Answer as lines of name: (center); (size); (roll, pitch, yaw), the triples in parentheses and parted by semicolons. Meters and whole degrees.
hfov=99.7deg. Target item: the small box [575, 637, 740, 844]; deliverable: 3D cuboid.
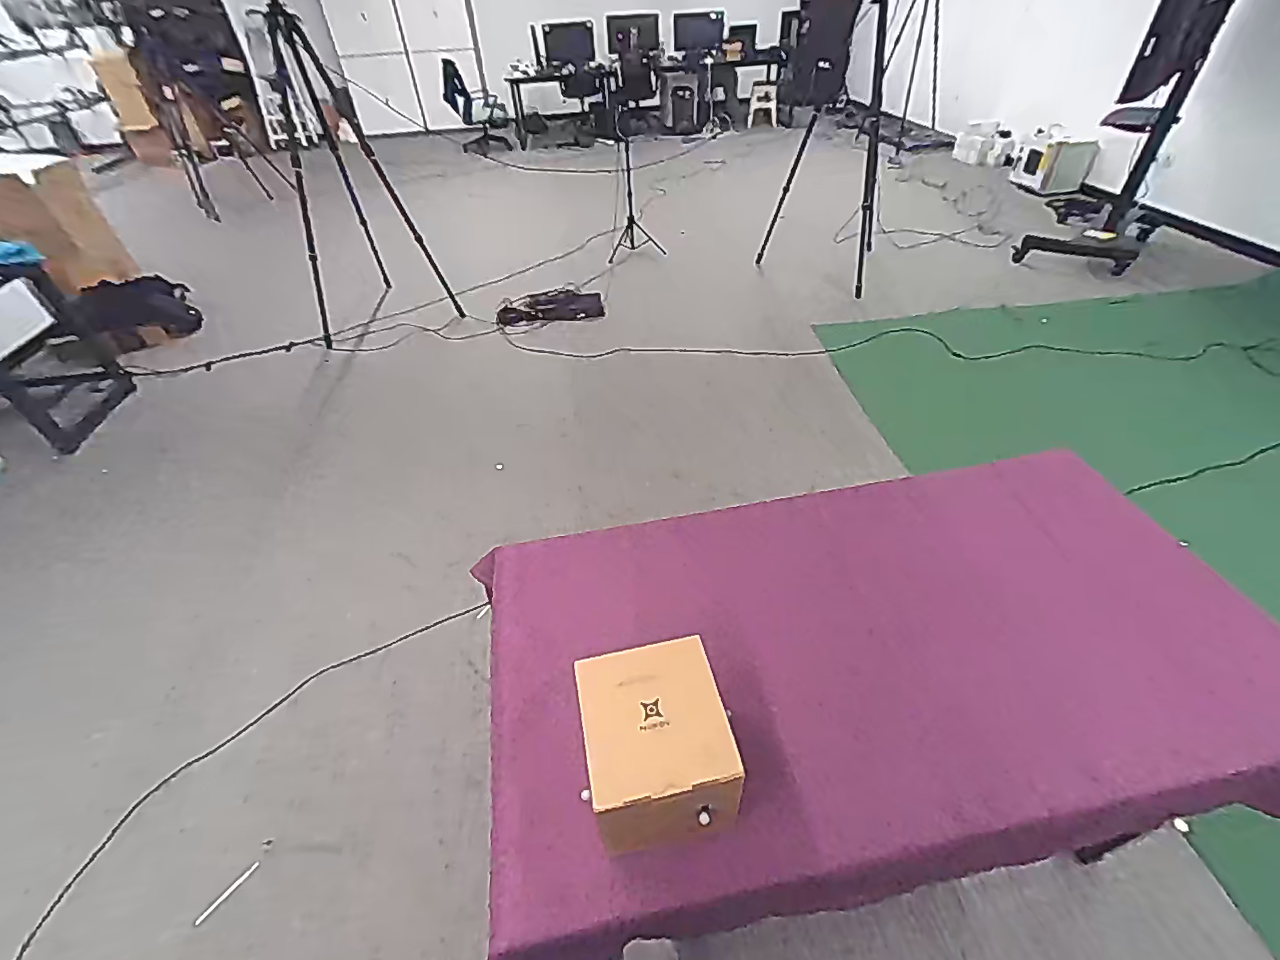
small box: (0.016, 0.331, 0.681); (0.168, 0.176, 0.179); (-9, 42, -8)
